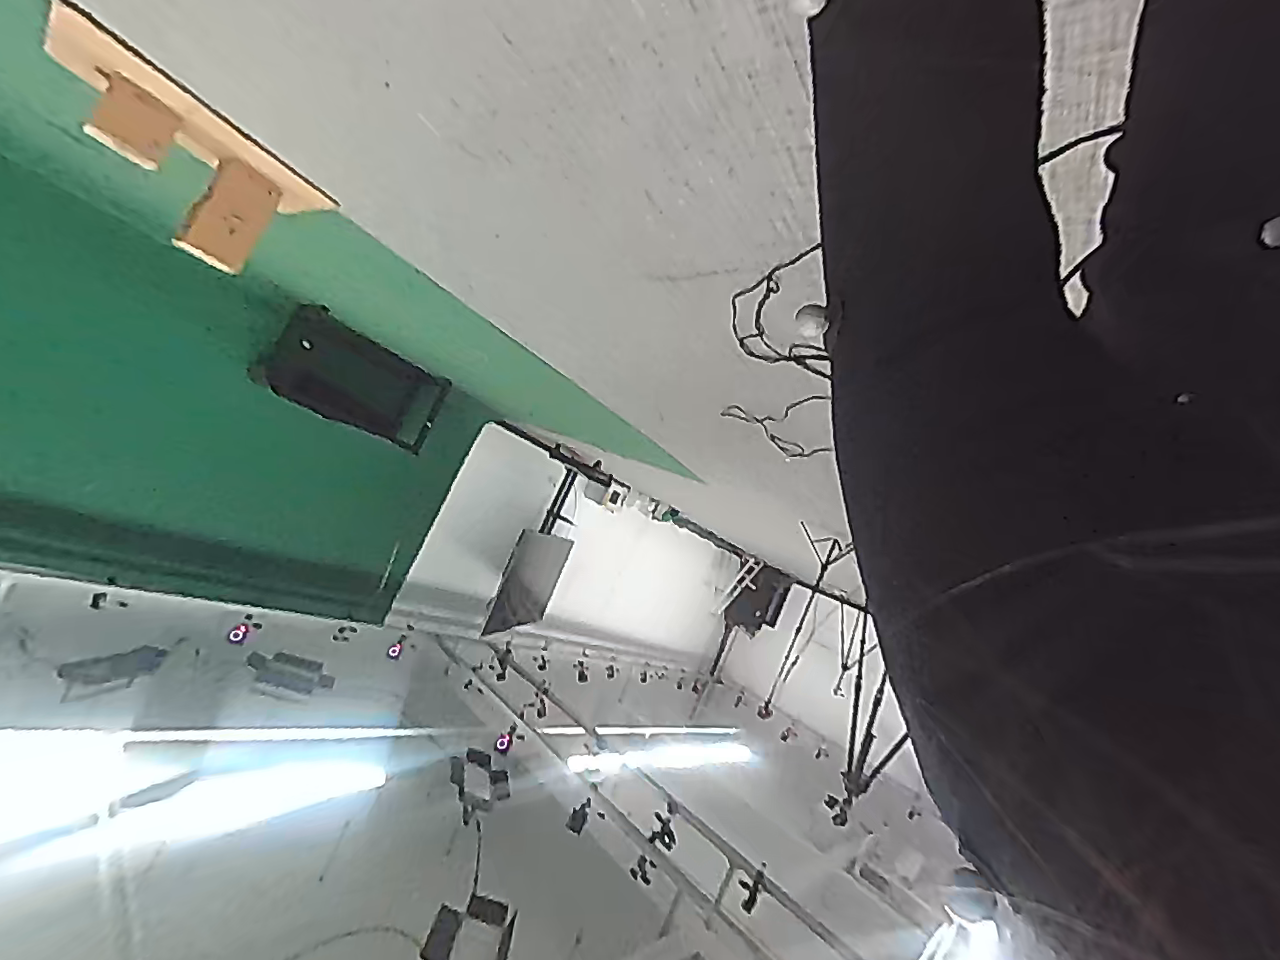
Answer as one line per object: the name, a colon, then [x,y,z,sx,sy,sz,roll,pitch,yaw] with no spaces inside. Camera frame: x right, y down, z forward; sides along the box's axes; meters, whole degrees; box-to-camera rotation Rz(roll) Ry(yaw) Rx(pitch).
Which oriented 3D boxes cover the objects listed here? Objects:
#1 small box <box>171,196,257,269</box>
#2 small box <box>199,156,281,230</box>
small box: [-1.480,-0.863,1.885,0.179,0.176,0.168,21,173,36]
small box: [-1.399,-1.004,1.897,0.179,0.176,0.168,22,174,37]
